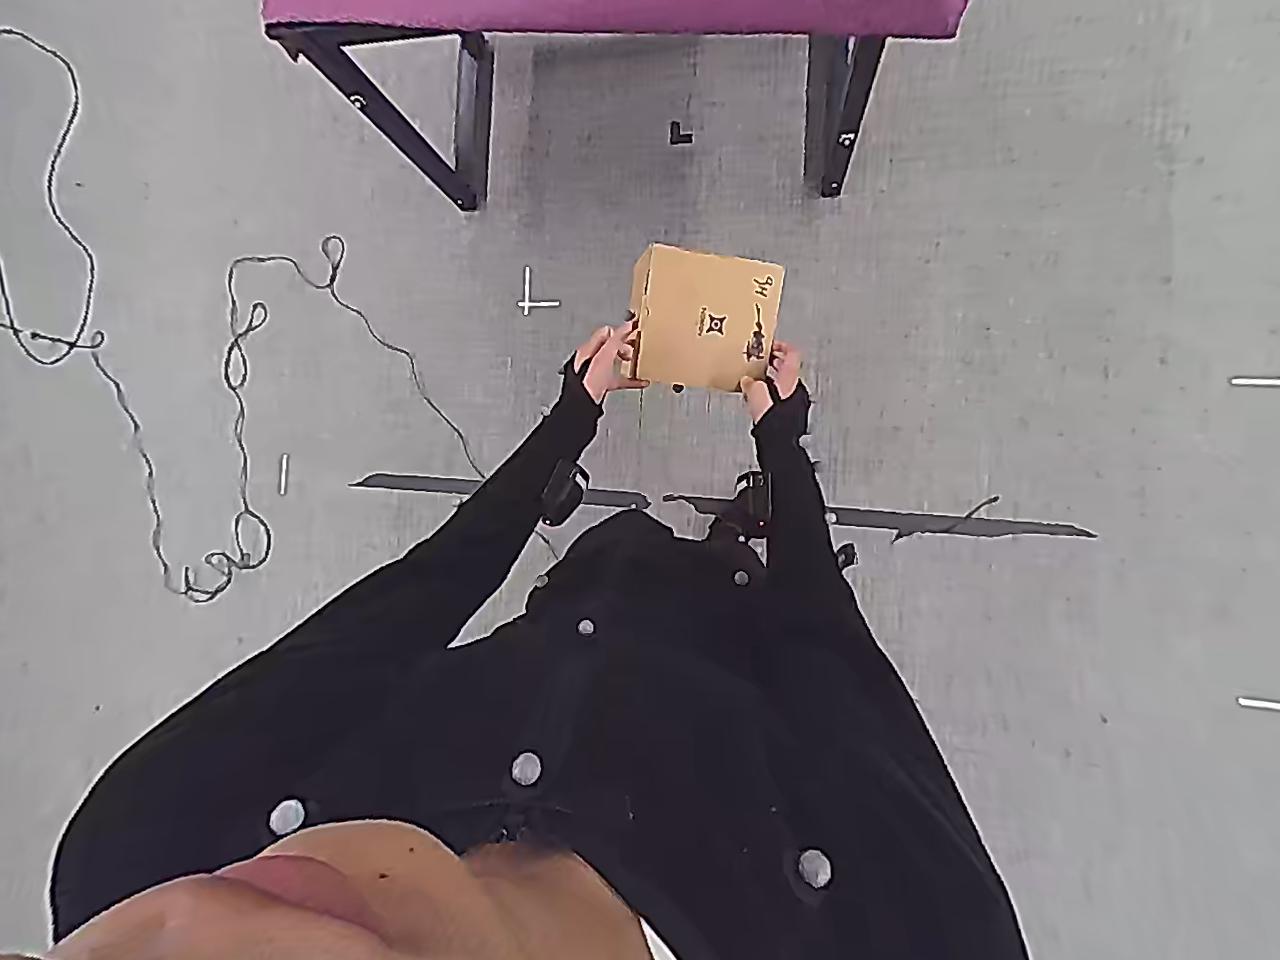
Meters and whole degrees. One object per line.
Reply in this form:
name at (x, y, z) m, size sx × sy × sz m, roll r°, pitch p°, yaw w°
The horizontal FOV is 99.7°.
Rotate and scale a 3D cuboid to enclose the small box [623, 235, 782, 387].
small box at (0.073, -0.226, 0.757) m, size 0.179 × 0.176 × 0.168 m, roll 6°, pitch 103°, yaw -8°
